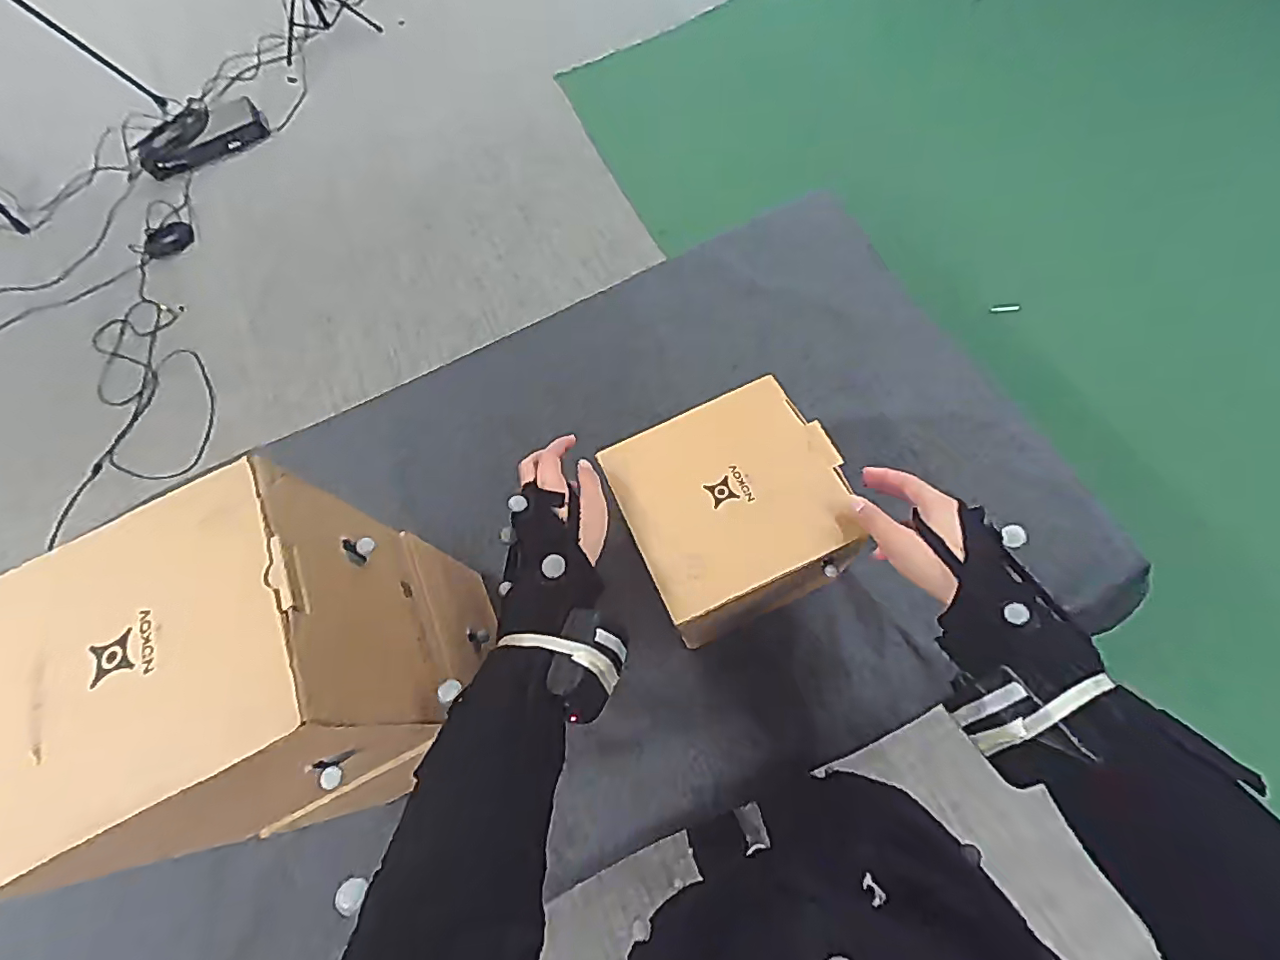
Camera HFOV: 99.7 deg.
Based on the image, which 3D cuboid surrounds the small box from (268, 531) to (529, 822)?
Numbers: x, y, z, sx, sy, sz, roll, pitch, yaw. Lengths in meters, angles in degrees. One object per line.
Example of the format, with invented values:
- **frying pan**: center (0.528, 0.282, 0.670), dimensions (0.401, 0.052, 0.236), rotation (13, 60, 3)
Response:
- **small box**: center (-0.226, 0.179, 0.506), dimensions (0.168, 0.176, 0.179), rotation (-27, 66, -4)

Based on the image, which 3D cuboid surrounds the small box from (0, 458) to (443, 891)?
- **small box**: center (-0.254, 0.119, 0.357), dimensions (0.179, 0.176, 0.168), rotation (-28, 65, -3)

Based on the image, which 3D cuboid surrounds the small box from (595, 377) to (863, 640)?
- **small box**: center (0.079, 0.039, 0.525), dimensions (0.179, 0.176, 0.168), rotation (-25, 65, -3)
